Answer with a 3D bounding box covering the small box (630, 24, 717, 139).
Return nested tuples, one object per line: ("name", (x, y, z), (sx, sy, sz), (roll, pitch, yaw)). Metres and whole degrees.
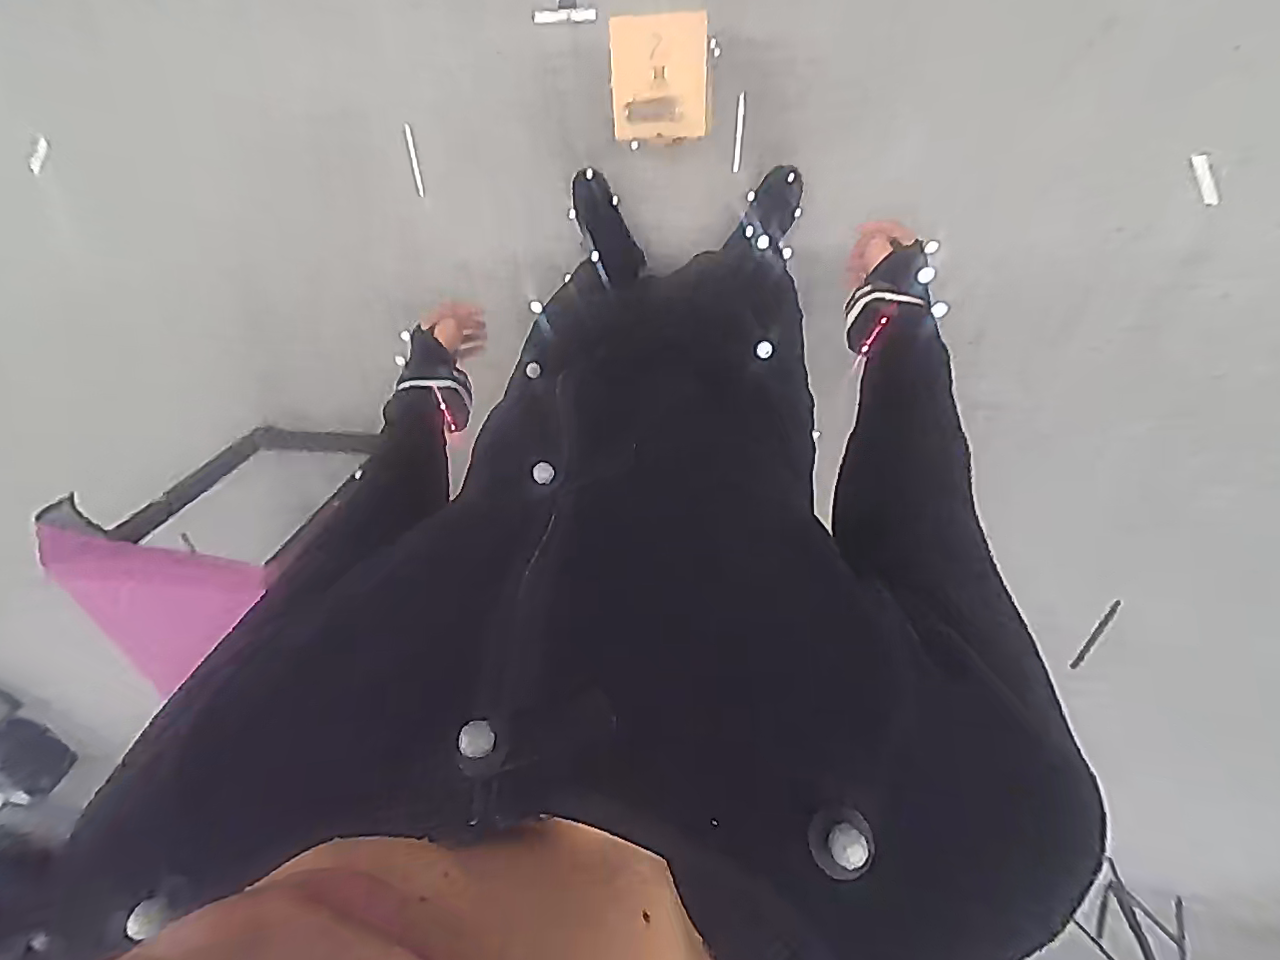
("small box", (0.074, -0.827, 1.133), (0.168, 0.176, 0.179), (1, 127, 9))
